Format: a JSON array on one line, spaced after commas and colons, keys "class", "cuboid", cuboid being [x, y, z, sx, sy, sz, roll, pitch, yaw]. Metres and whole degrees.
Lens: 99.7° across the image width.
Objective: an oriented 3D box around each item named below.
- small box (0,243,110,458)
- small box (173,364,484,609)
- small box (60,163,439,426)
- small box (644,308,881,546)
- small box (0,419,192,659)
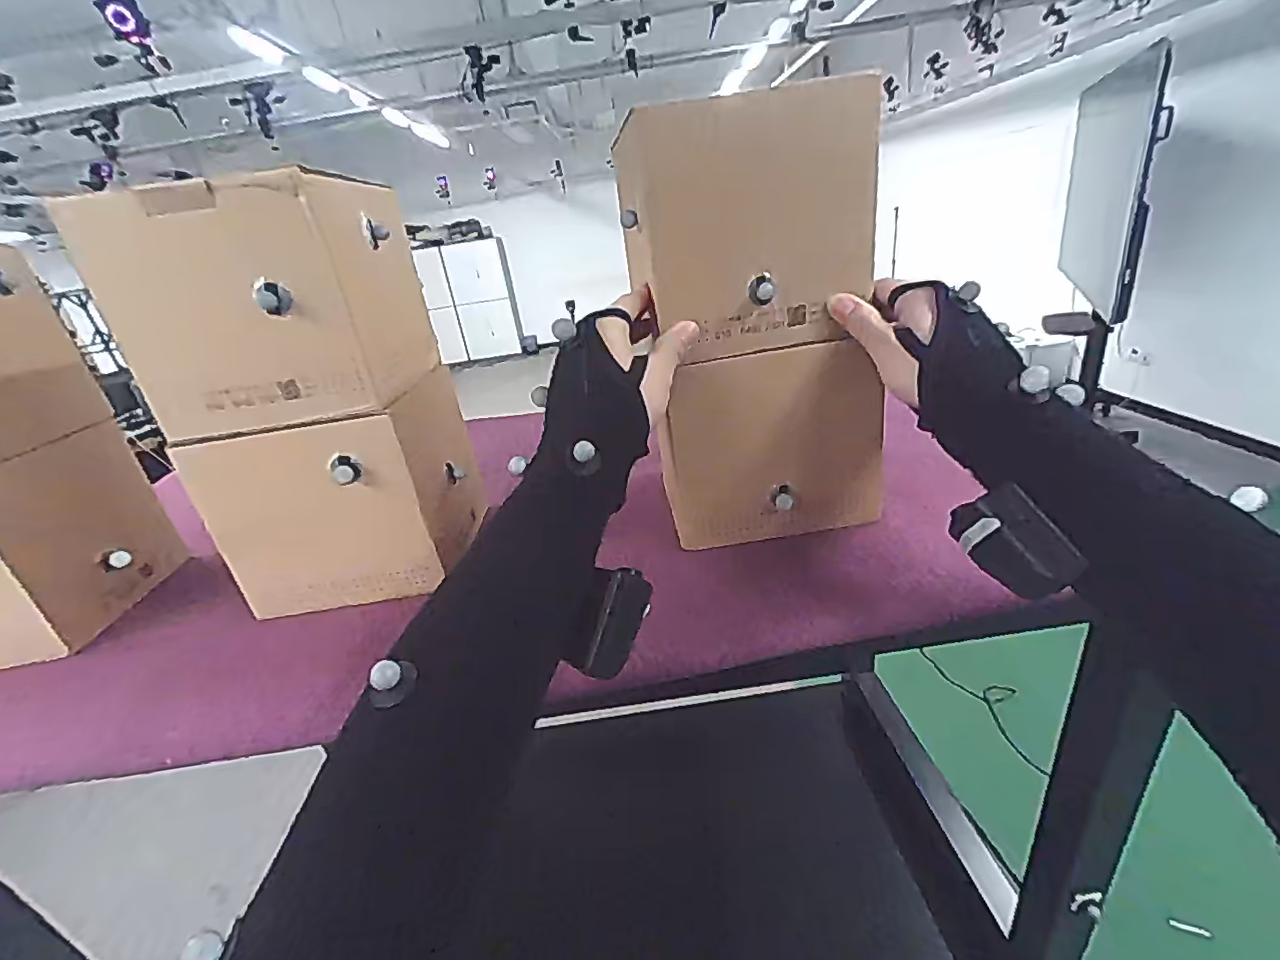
[{"class": "small box", "cuboid": [-0.615, -0.092, 0.446, 0.168, 0.176, 0.179, -10, 24, -3]}, {"class": "small box", "cuboid": [-0.265, 0.001, 0.516, 0.179, 0.176, 0.168, -9, 23, 1]}, {"class": "small box", "cuboid": [-0.290, -0.150, 0.457, 0.168, 0.176, 0.179, -8, 23, 1]}, {"class": "small box", "cuboid": [0.104, -0.056, 0.512, 0.179, 0.176, 0.168, -9, 23, 0]}, {"class": "small box", "cuboid": [-0.592, 0.056, 0.508, 0.179, 0.176, 0.168, -9, 24, -2]}]
